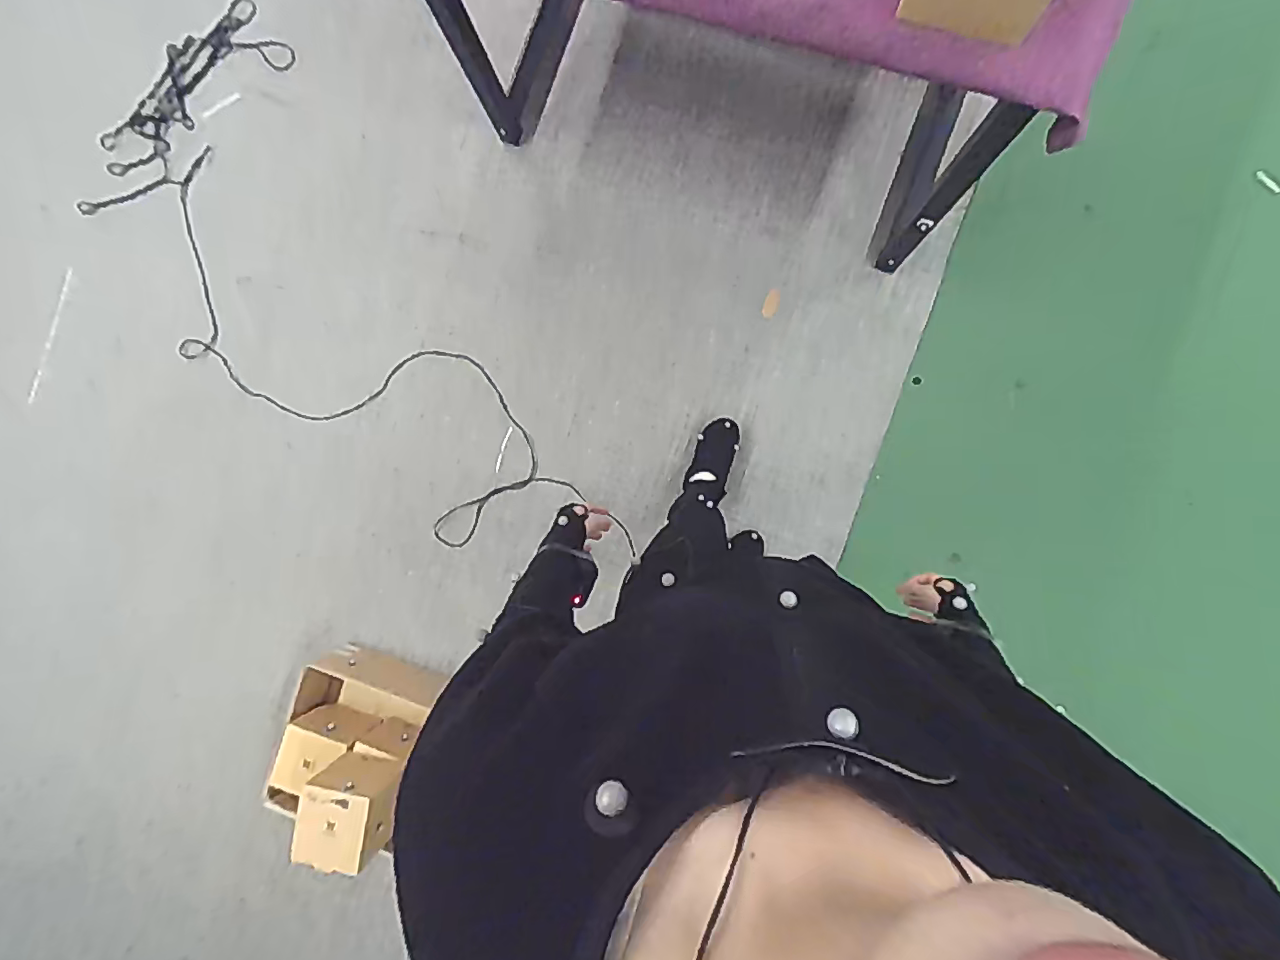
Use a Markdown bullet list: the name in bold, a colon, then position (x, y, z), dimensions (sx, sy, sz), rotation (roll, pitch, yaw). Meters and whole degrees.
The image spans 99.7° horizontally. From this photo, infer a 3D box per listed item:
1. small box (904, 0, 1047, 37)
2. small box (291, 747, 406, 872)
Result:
- **small box**: position (0.466, -0.714, 0.681), dimensions (0.179, 0.176, 0.168), rotation (19, 91, 6)
- **small box**: position (-0.682, 0.771, 1.283), dimensions (0.168, 0.176, 0.179), rotation (9, 89, 5)
